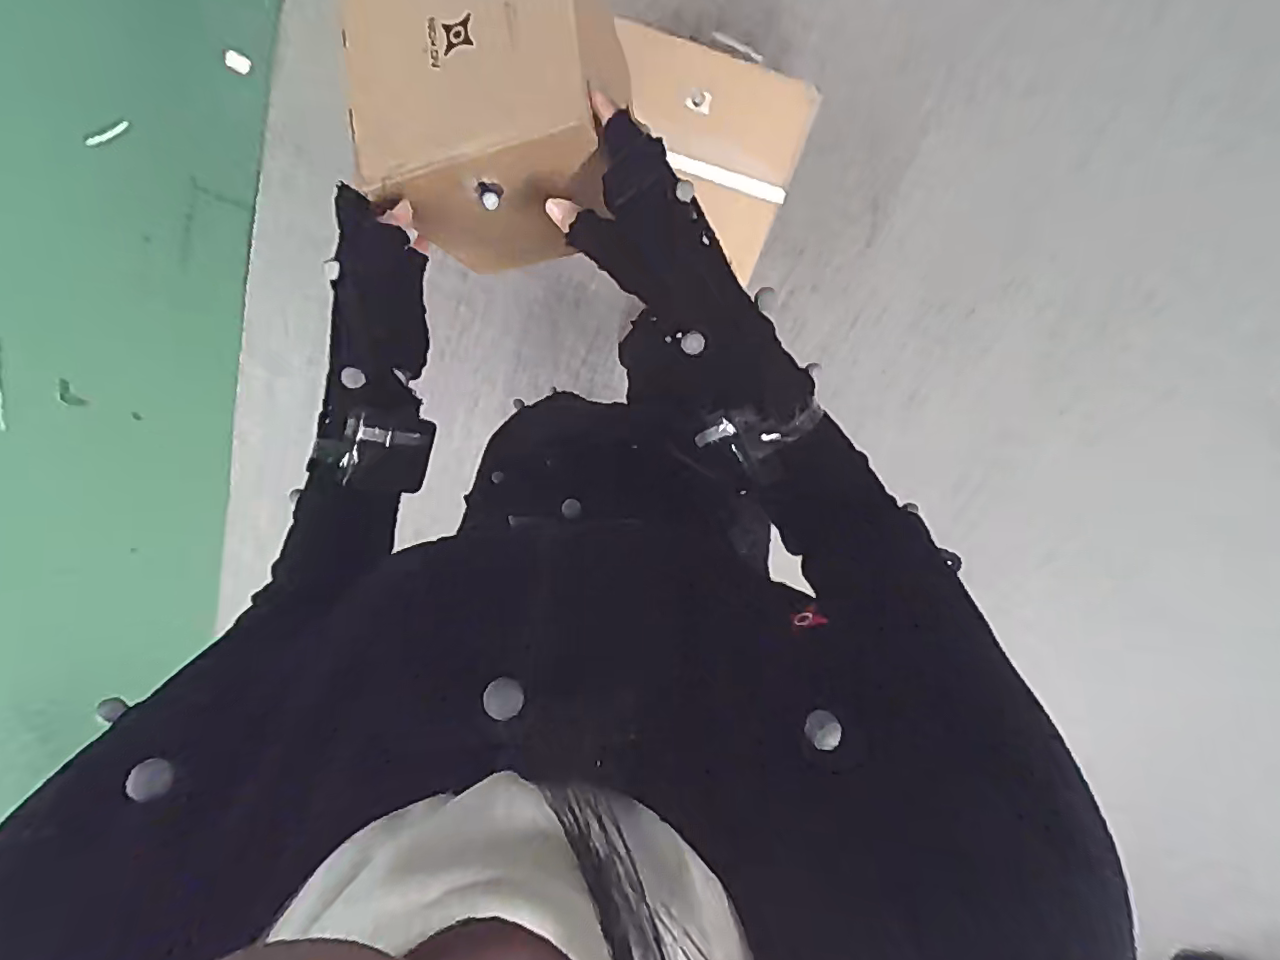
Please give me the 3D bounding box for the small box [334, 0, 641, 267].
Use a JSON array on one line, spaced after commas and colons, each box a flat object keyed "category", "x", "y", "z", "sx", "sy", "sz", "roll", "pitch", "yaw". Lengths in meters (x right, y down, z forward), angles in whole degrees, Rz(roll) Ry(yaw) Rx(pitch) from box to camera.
[{"category": "small box", "x": -0.110, "y": -0.297, "z": 0.442, "sx": 0.179, "sy": 0.176, "sz": 0.168, "roll": -8, "pitch": 87, "yaw": 13}]
